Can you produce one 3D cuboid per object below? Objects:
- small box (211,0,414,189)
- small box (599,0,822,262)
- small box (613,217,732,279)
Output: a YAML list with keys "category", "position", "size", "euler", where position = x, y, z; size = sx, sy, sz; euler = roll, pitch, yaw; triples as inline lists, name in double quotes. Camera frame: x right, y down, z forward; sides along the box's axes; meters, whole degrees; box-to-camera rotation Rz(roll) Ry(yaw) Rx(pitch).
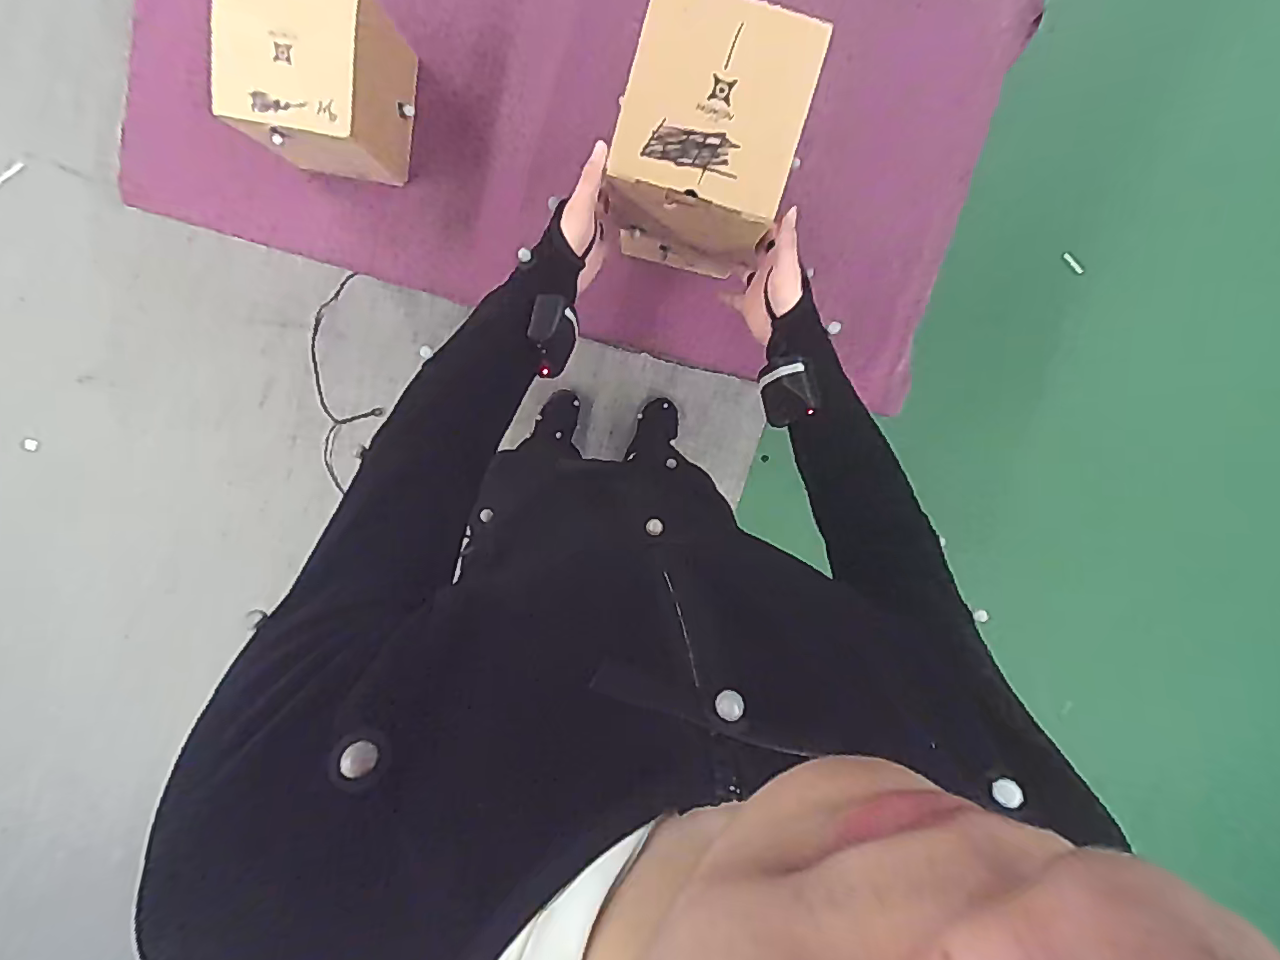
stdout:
- category: "small box"
  position: [-0.414, -0.516, 0.710]
  size: [0.168, 0.176, 0.179]
  euler: [10, 100, -1]
- category: "small box"
  position: [0.064, -0.353, 0.572]
  size: [0.168, 0.176, 0.179]
  euler: [16, 98, -3]
- category: "small box"
  position: [0.067, -0.389, 0.734]
  size: [0.168, 0.176, 0.179]
  euler: [13, 99, -2]
